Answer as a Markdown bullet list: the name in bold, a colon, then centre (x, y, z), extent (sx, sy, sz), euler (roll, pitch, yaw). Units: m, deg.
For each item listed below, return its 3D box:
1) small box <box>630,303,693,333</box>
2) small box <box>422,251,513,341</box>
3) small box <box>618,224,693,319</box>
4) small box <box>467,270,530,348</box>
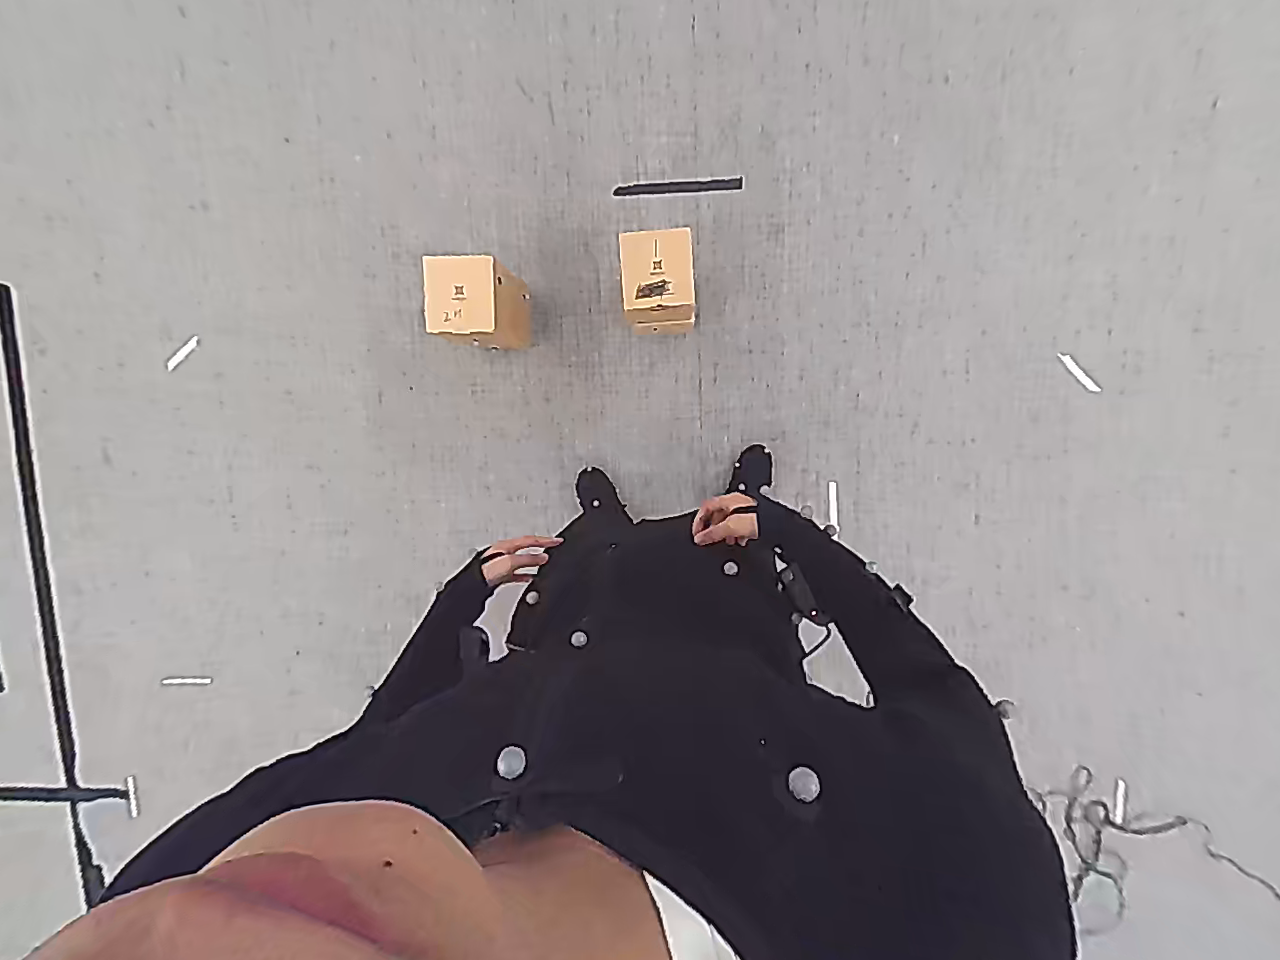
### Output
- **small box**: centre (0.054, -0.500, 1.463), extent (0.168, 0.176, 0.179), euler (-4, 95, 2)
- **small box**: centre (-0.414, -0.442, 1.315), extent (0.168, 0.176, 0.179), euler (1, 96, 3)
- **small box**: centre (0.038, -0.490, 1.299), extent (0.168, 0.176, 0.179), euler (-4, 94, 2)
- **small box**: centre (-0.401, -0.463, 1.478), extent (0.168, 0.176, 0.179), euler (1, 96, 2)
